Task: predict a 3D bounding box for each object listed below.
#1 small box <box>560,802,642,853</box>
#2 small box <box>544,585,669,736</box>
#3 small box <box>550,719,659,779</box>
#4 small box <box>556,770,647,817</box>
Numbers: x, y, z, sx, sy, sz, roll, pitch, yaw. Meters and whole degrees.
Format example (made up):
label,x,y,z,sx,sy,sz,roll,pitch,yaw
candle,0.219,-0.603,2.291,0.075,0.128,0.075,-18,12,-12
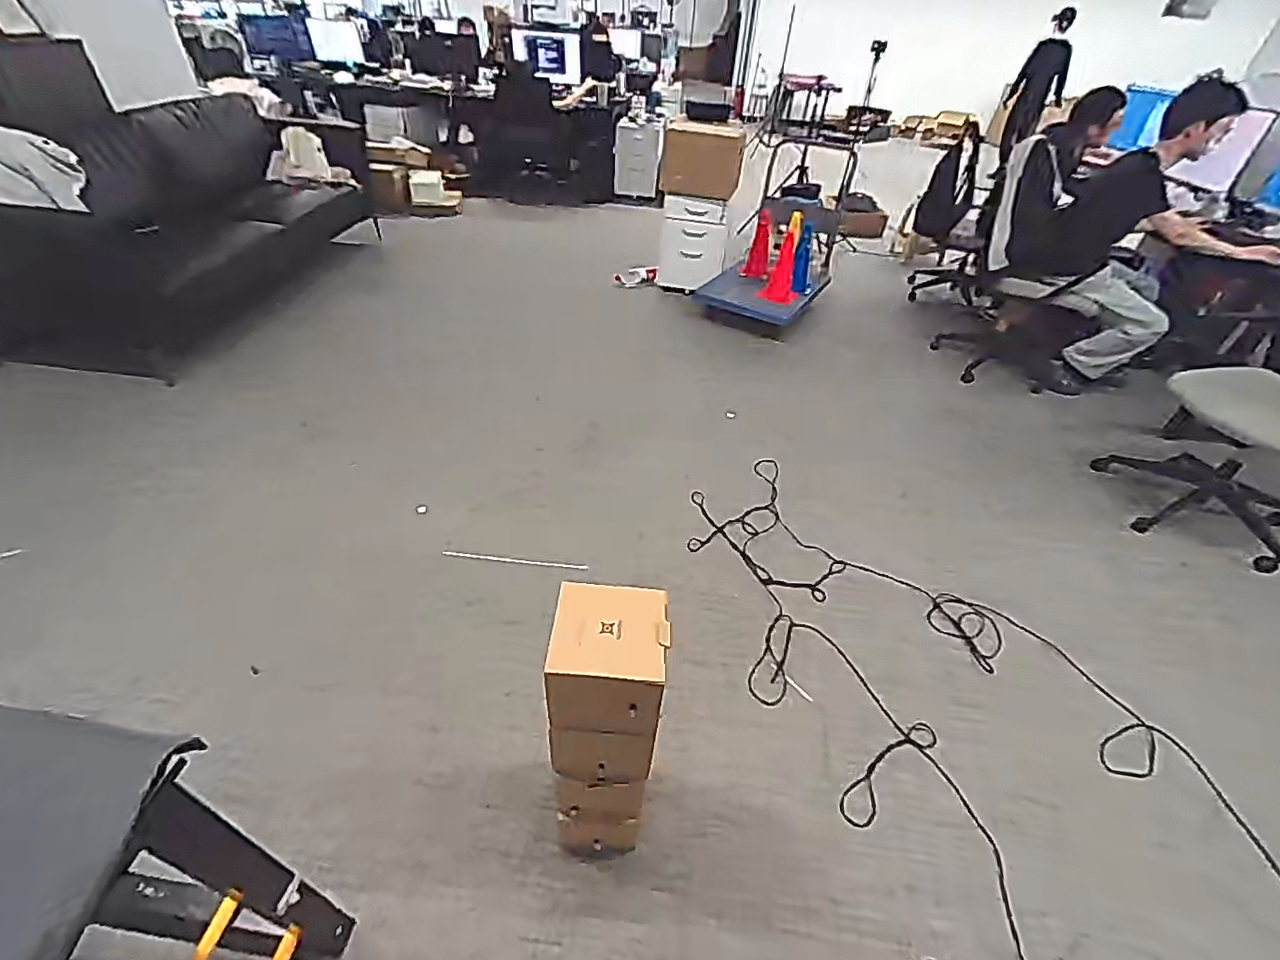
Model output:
label,x,y,z,sx,sy,sz,roll,pitch,yaw
small box,-0.079,0.678,1.172,0.168,0.176,0.179,3,41,0
small box,-0.049,0.292,0.870,0.179,0.176,0.168,4,39,1
small box,-0.060,0.418,0.973,0.179,0.176,0.168,5,40,0
small box,-0.068,0.545,1.075,0.168,0.176,0.179,4,39,-1
